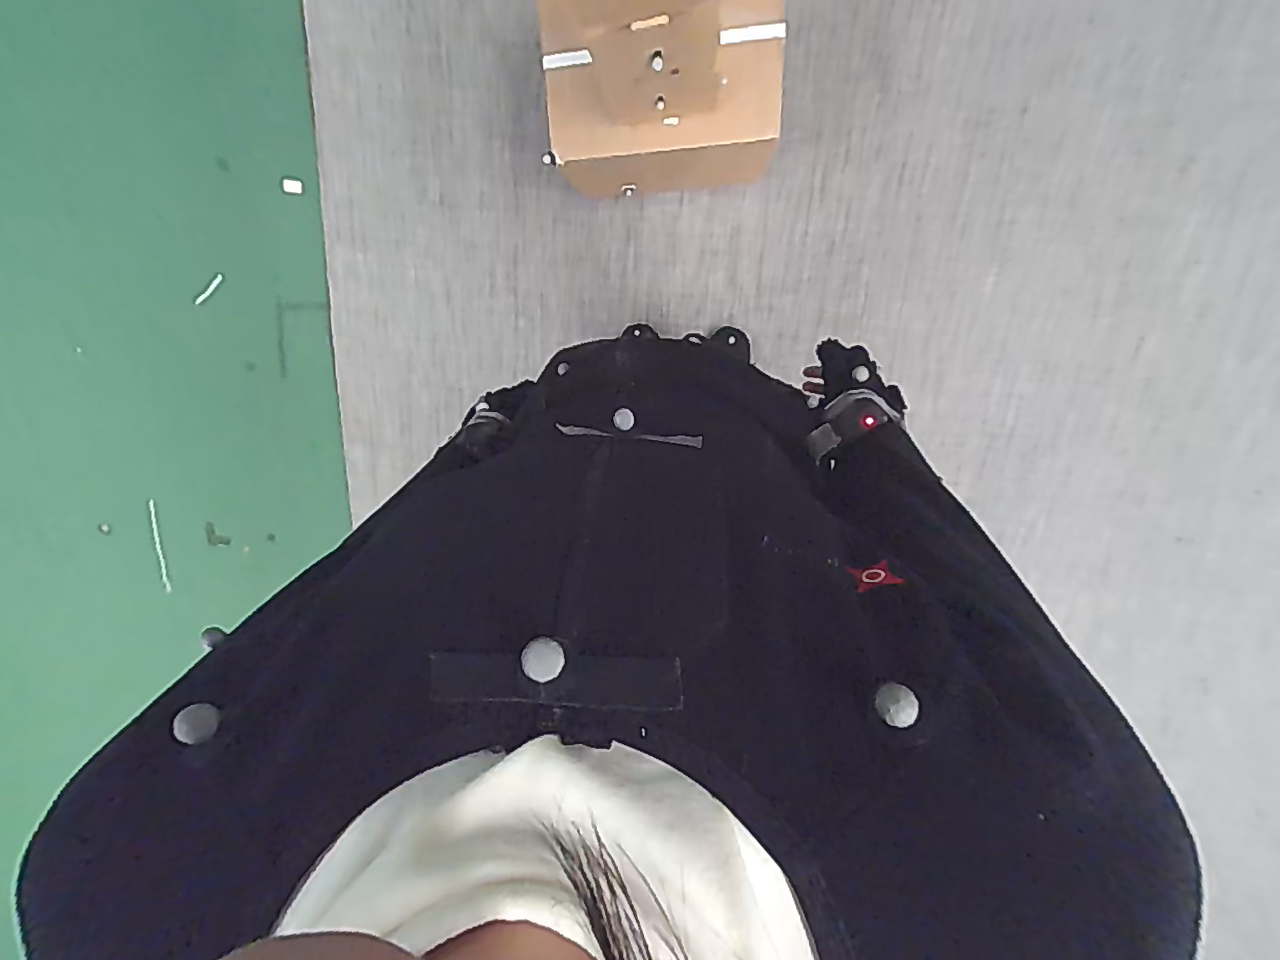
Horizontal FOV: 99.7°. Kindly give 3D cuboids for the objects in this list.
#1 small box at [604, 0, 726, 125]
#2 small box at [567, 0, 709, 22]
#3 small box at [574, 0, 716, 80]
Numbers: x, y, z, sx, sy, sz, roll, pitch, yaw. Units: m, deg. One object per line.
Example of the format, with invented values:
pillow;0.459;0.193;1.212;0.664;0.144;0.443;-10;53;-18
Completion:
small box;0.032;-0.674;0.827;0.179;0.176;0.168;-7;106;8
small box;-0.007;-0.582;0.517;0.179;0.176;0.168;-4;108;7
small box;0.007;-0.631;0.672;0.168;0.176;0.179;-4;107;8
